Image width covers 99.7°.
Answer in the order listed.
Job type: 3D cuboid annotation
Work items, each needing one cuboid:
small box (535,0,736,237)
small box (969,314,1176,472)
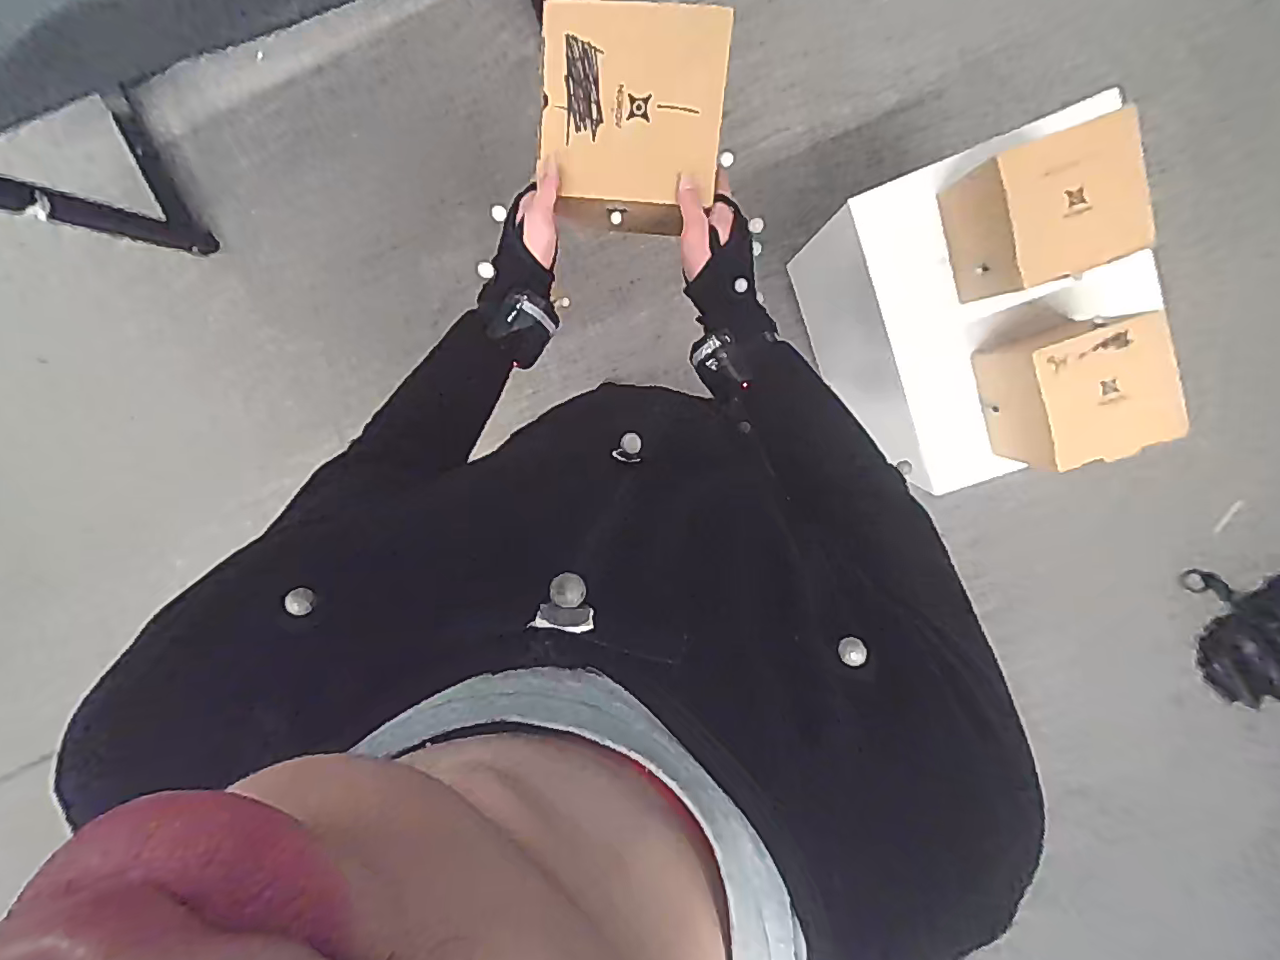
[{"bbox_3d":[-0.002,-0.366,0.575,0.179,0.176,0.168,6,105,3],"label":"small box"},{"bbox_3d":[0.628,-0.132,0.804,0.168,0.176,0.179,-18,101,7],"label":"small box"}]
